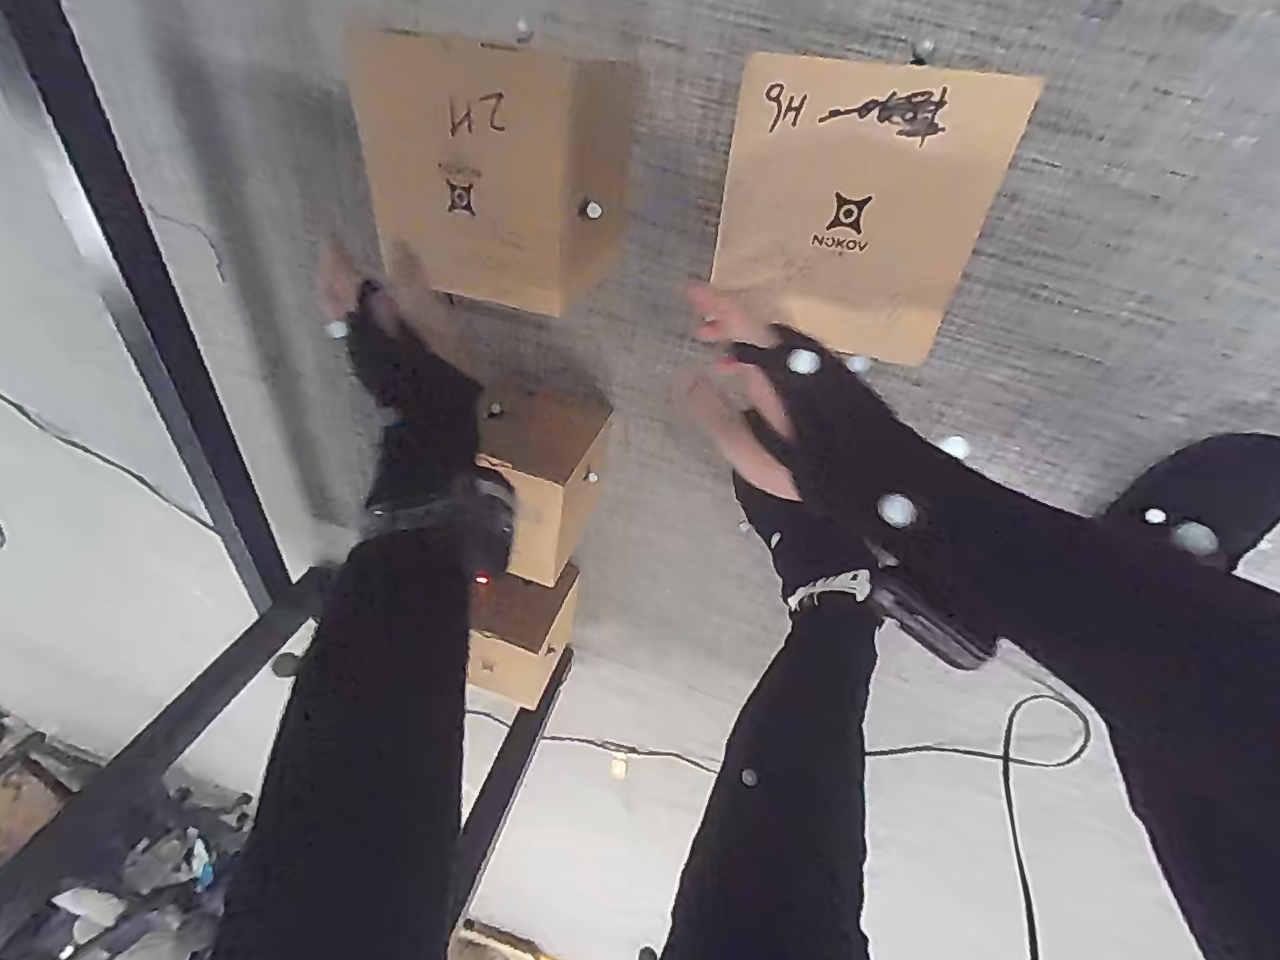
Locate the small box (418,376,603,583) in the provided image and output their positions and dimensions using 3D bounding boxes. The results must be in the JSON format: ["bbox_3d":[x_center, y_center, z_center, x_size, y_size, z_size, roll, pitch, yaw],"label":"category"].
[{"bbox_3d":[-0.153,-0.008,0.684,0.168,0.176,0.179,17,130,7],"label":"small box"}]

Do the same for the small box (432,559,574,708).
[{"bbox_3d":[-0.217,0.235,0.892,0.168,0.176,0.179,17,129,7],"label":"small box"}]

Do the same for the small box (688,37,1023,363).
[{"bbox_3d":[0.144,-0.218,0.414,0.168,0.176,0.179,13,130,8],"label":"small box"}]
